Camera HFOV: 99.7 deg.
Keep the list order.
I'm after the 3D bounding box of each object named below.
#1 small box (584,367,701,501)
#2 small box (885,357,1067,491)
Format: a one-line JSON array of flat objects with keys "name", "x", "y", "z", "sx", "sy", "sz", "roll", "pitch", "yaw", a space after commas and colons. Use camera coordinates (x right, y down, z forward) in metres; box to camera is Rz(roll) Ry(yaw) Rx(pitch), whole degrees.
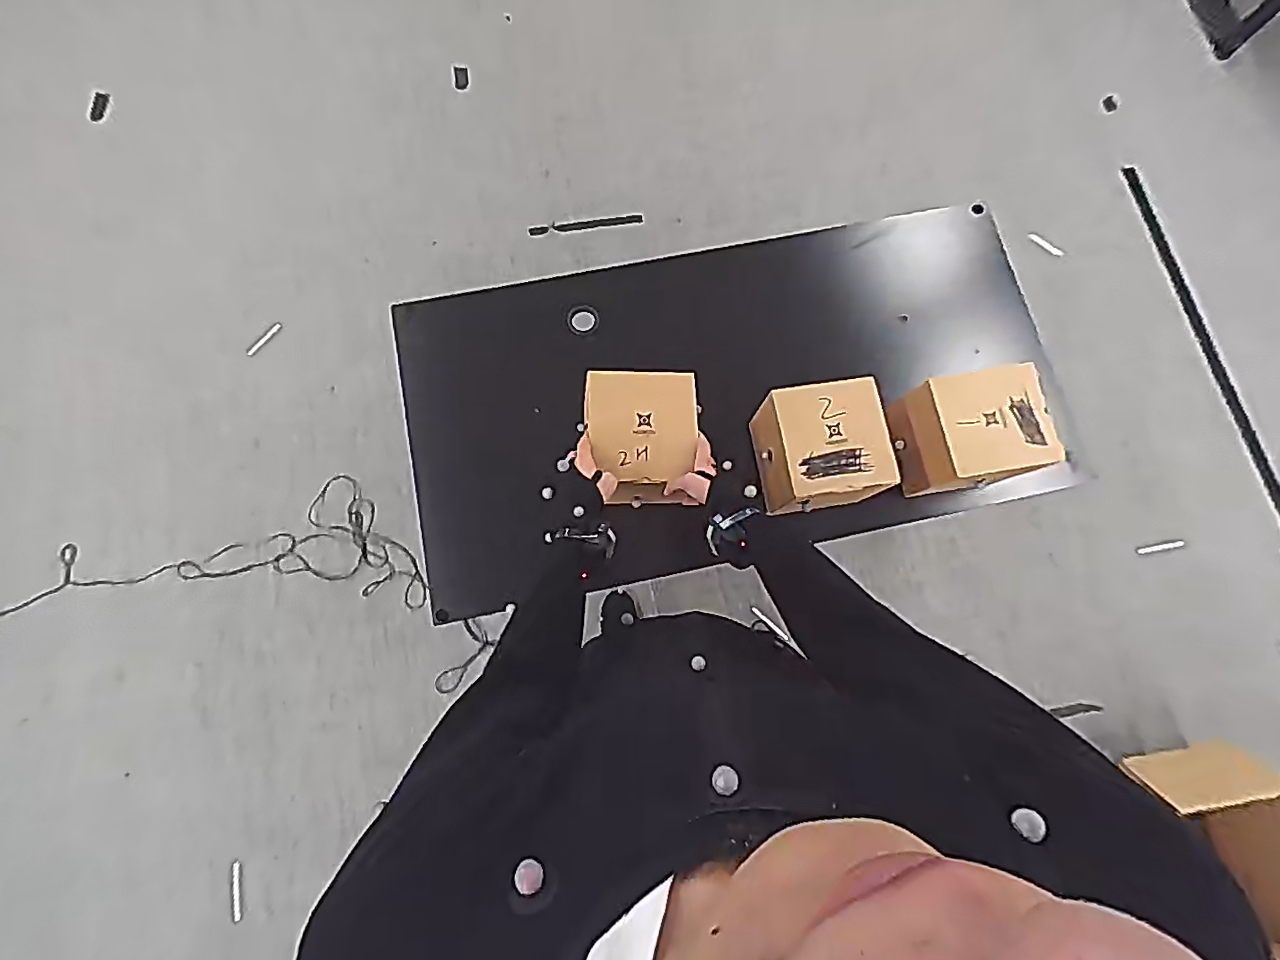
[{"name": "small box", "x": -0.004, "y": -0.067, "z": 0.871, "sx": 0.168, "sy": 0.176, "sz": 0.179, "roll": -1, "pitch": 78, "yaw": -7}, {"name": "small box", "x": 0.546, "y": -0.085, "z": 0.903, "sx": 0.179, "sy": 0.176, "sz": 0.168, "roll": -10, "pitch": 78, "yaw": -2}]
